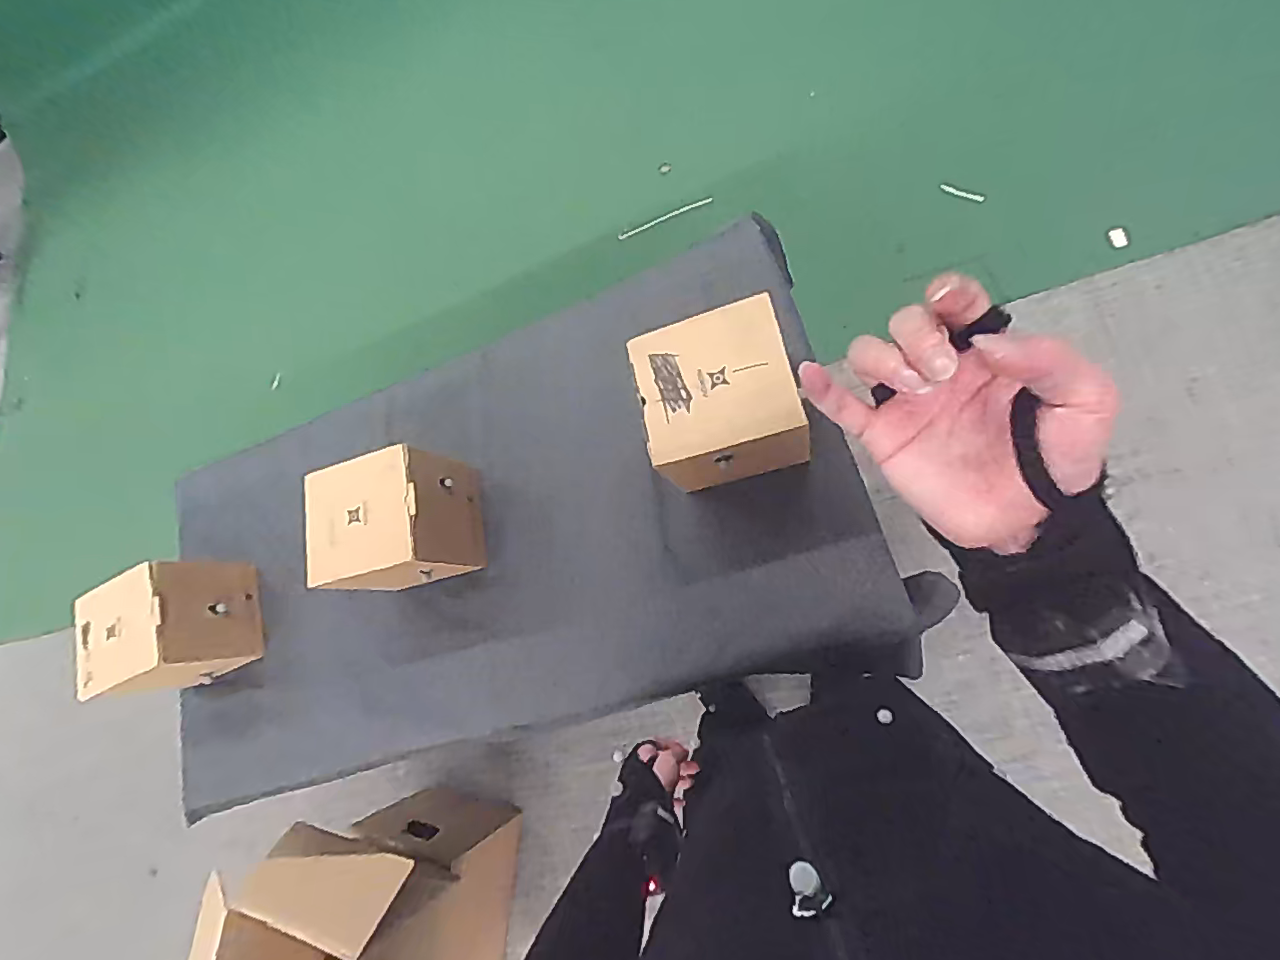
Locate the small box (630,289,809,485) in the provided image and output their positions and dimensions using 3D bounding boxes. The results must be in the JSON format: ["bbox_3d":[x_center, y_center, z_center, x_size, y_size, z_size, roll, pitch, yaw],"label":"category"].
[{"bbox_3d":[0.106,-0.101,0.682,0.179,0.176,0.168,-15,74,14],"label":"small box"}]

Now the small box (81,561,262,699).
[{"bbox_3d":[-0.766,0.244,0.901,0.179,0.176,0.168,-24,72,11],"label":"small box"}]

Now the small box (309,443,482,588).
[{"bbox_3d":[-0.352,0.062,0.804,0.179,0.176,0.168,-17,72,16],"label":"small box"}]
